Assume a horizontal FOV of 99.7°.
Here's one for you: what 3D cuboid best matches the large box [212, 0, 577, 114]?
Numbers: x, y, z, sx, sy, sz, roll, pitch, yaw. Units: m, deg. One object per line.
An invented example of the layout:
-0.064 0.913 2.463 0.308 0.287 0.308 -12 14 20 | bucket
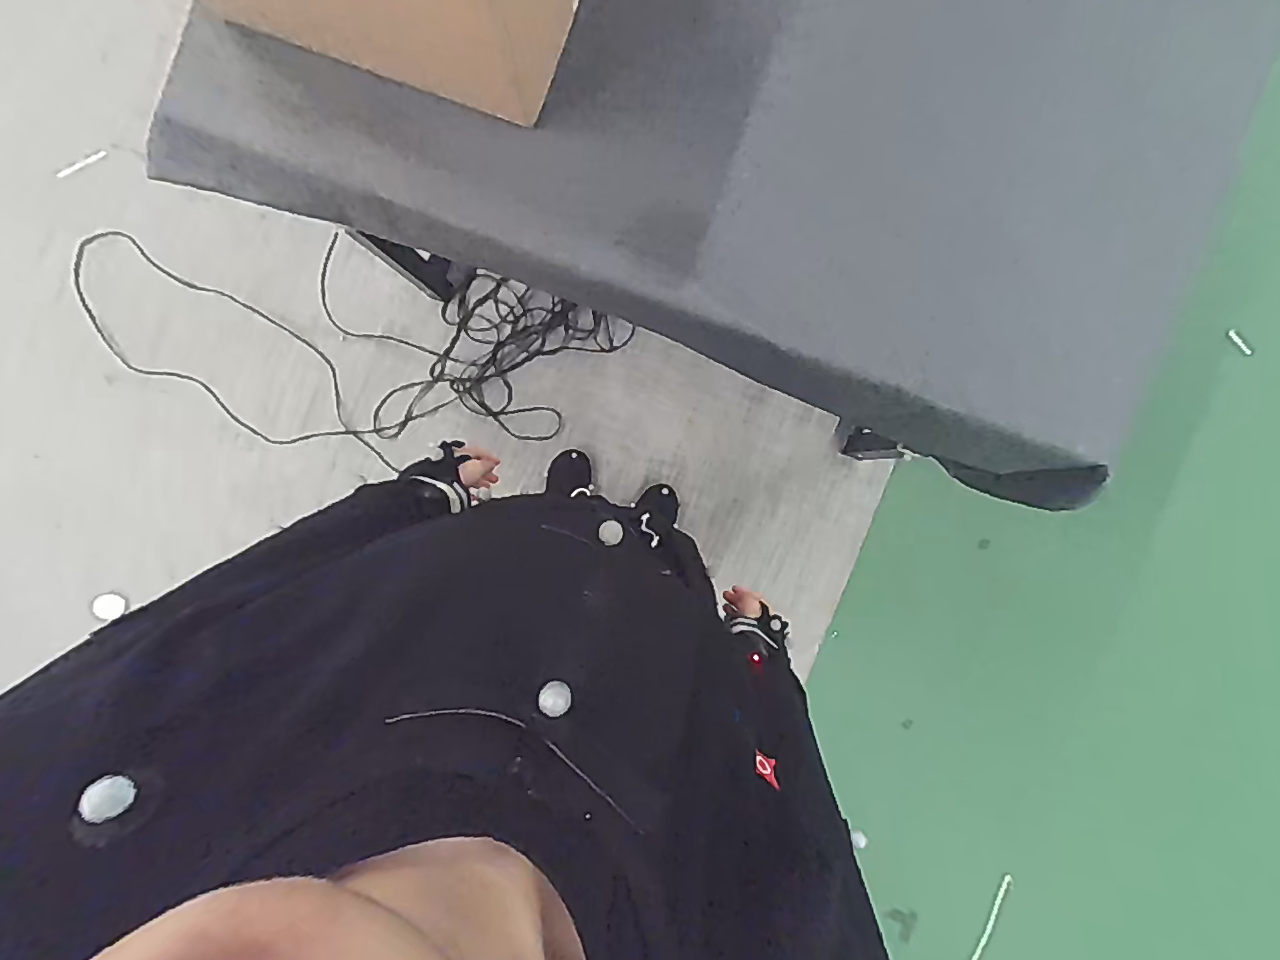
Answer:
-0.258 -0.628 0.486 0.408 0.320 0.320 19 92 -1 | large box
